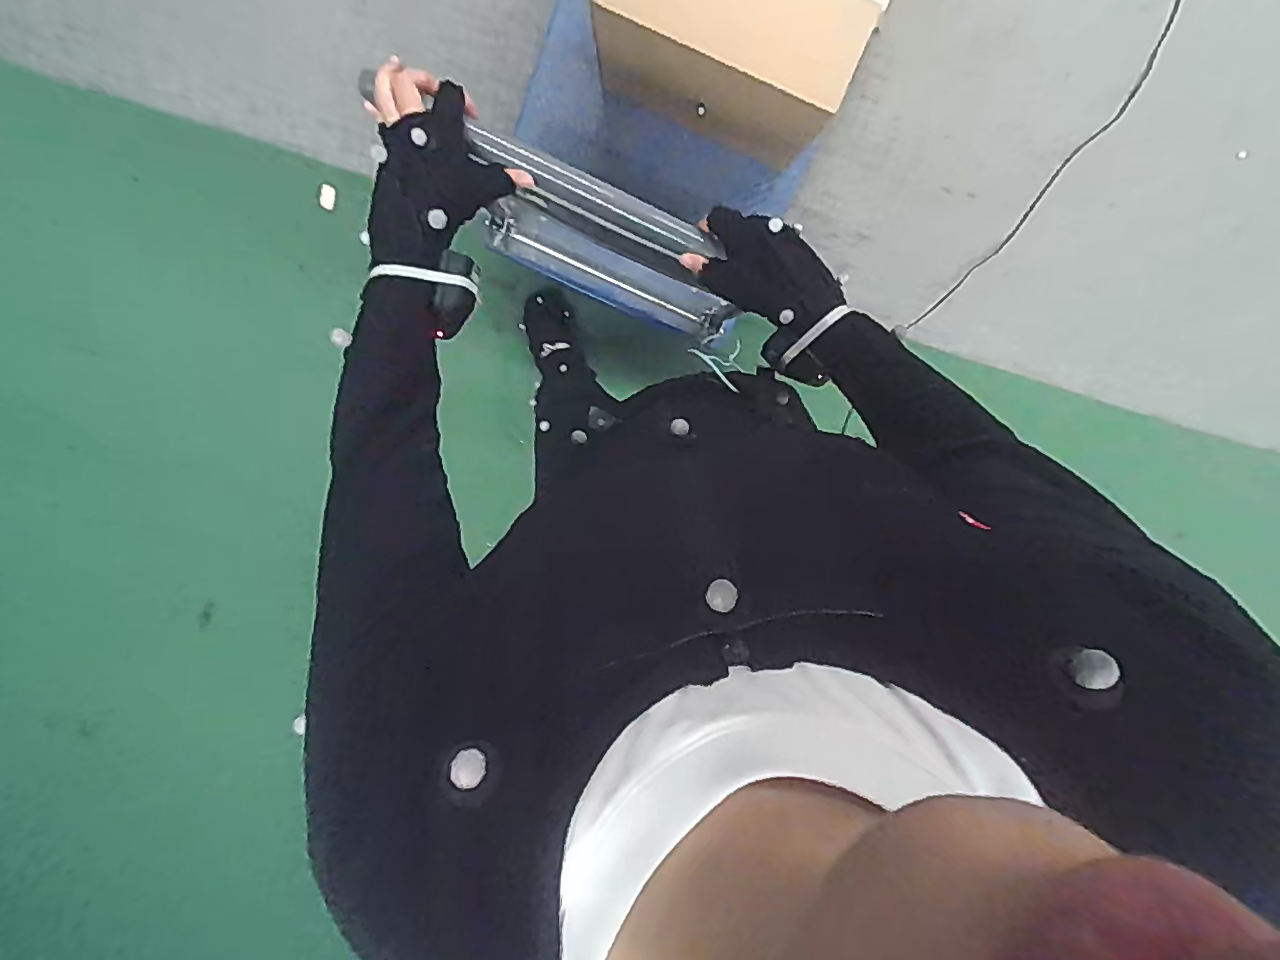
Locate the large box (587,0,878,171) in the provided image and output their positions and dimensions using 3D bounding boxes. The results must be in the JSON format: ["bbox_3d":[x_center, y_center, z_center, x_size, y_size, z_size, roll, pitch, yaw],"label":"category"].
[{"bbox_3d":[0.164,-0.797,0.922,0.408,0.320,0.320,22,103,-4],"label":"large box"}]
